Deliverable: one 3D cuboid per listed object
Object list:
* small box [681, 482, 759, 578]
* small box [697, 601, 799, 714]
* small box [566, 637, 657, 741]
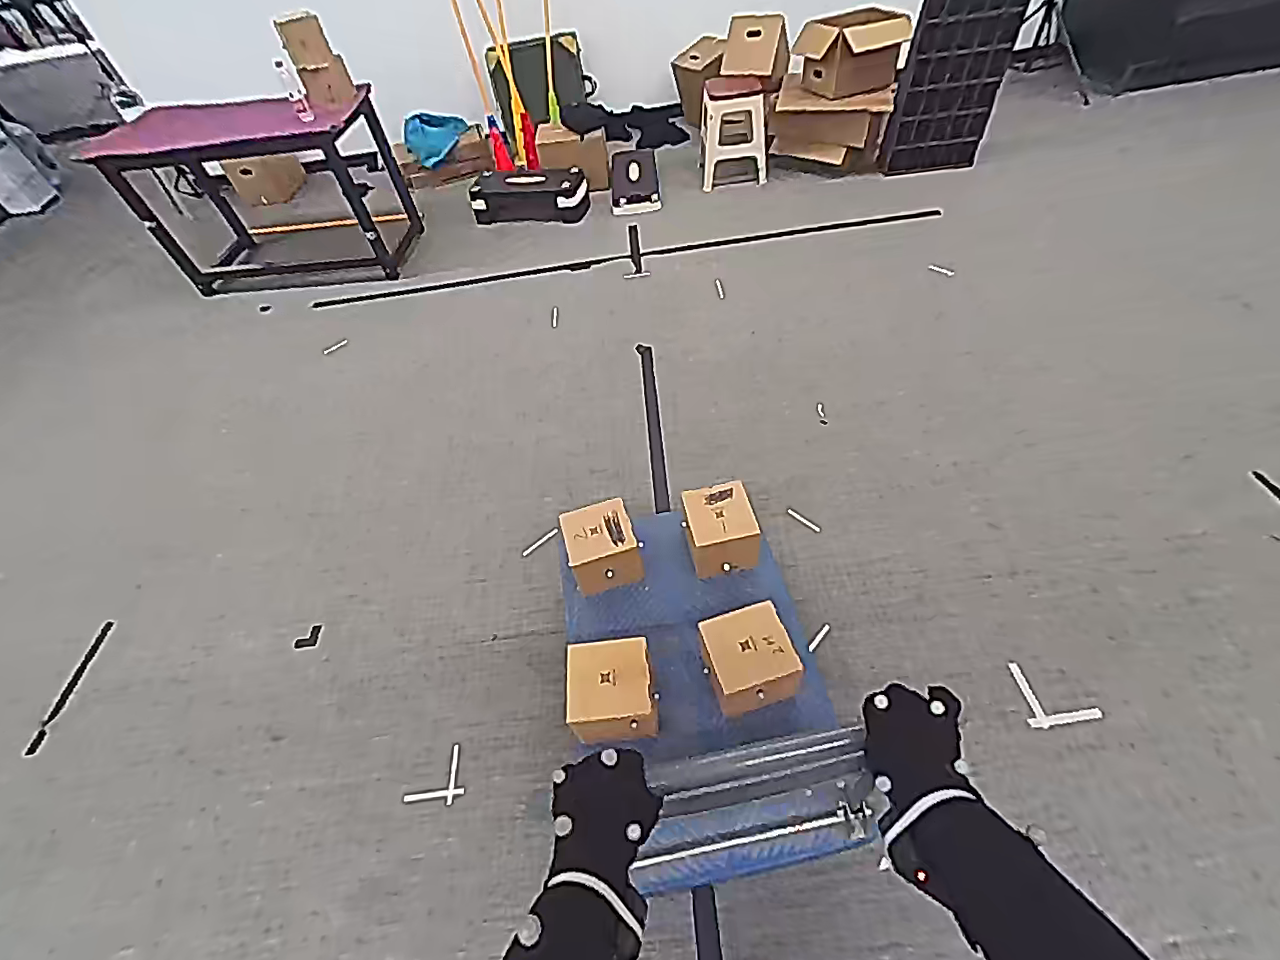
[{"bbox_3d":[0.208,0.134,1.443,0.168,0.176,0.179,-12,51,-1],"label":"small box"},{"bbox_3d":[0.239,0.404,1.218,0.179,0.176,0.168,-16,51,-5],"label":"small box"},{"bbox_3d":[-0.061,0.470,1.209,0.179,0.176,0.168,-7,50,1],"label":"small box"}]
